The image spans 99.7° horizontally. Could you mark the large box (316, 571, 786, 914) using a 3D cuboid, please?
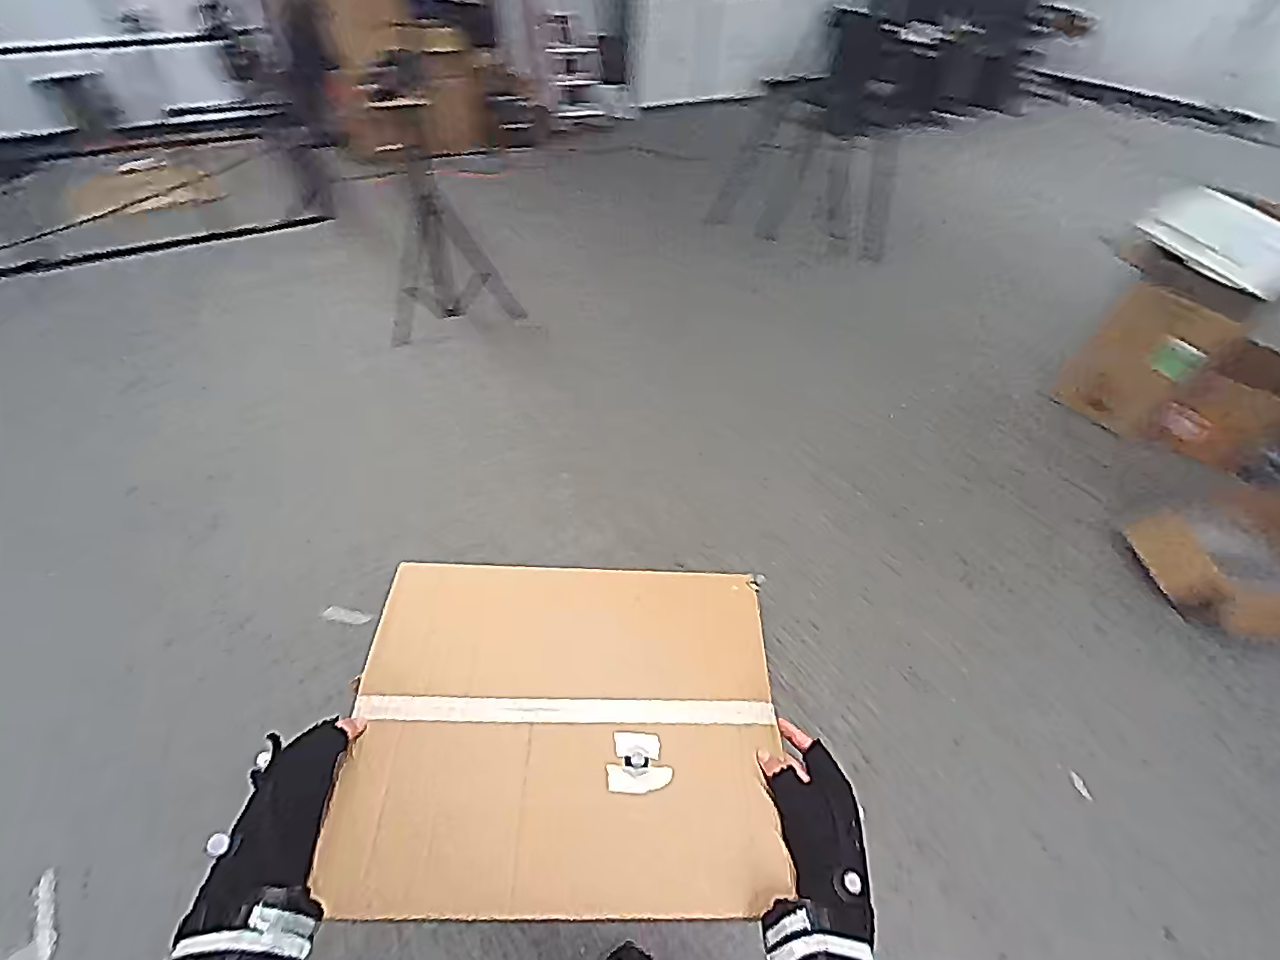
[{"bbox_3d":[-0.087,0.323,0.661,0.408,0.320,0.320,2,52,-5],"label":"large box"}]
